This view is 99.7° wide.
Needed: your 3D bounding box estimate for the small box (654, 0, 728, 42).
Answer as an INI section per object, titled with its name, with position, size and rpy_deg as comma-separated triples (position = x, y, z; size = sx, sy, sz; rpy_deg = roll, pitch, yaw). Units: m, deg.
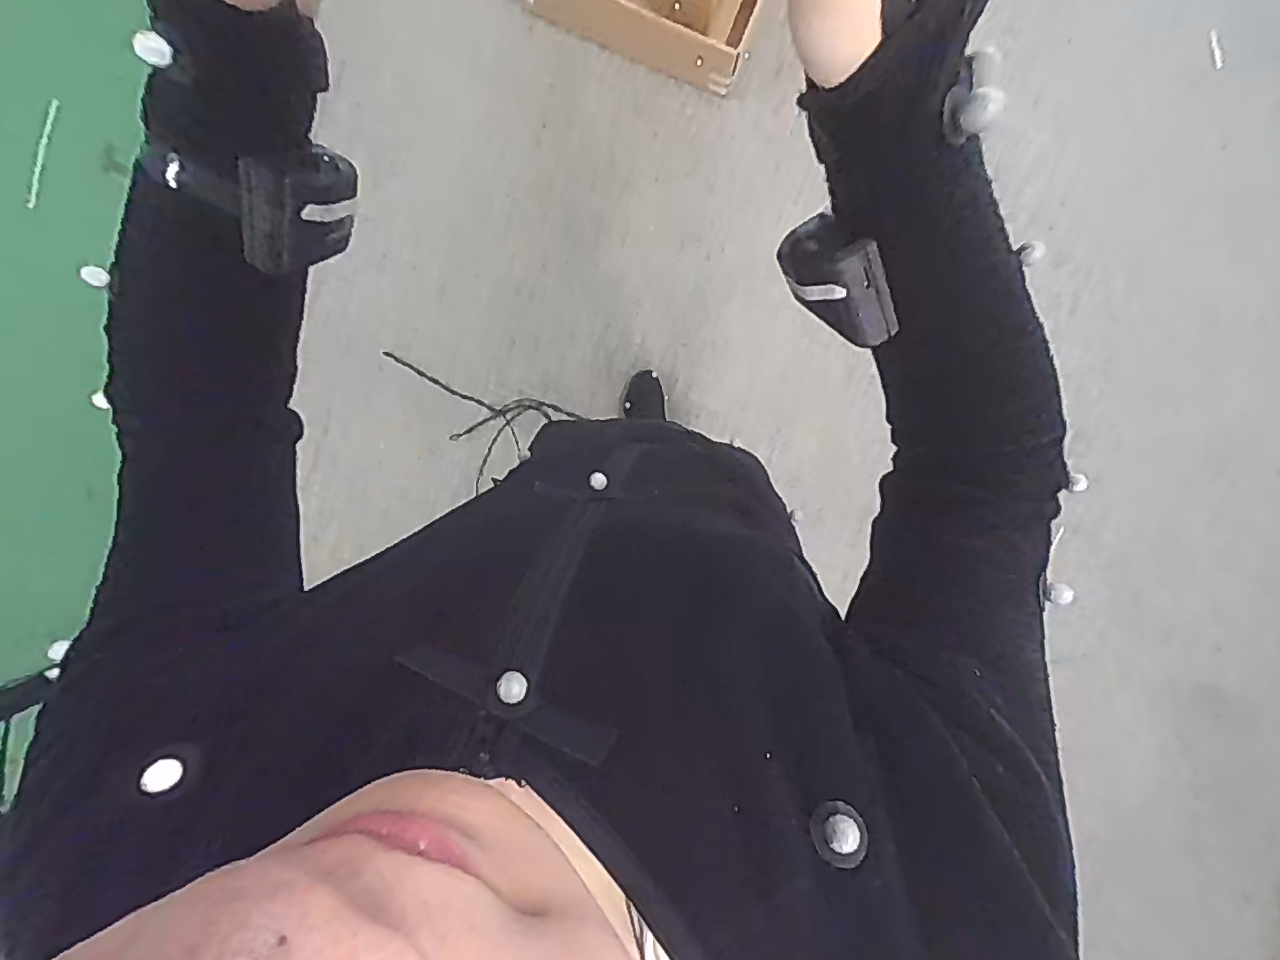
[small box]
position = 0.139, -1.243, 1.331
size = 0.168, 0.176, 0.179
rpy_deg = 25, 97, -1
